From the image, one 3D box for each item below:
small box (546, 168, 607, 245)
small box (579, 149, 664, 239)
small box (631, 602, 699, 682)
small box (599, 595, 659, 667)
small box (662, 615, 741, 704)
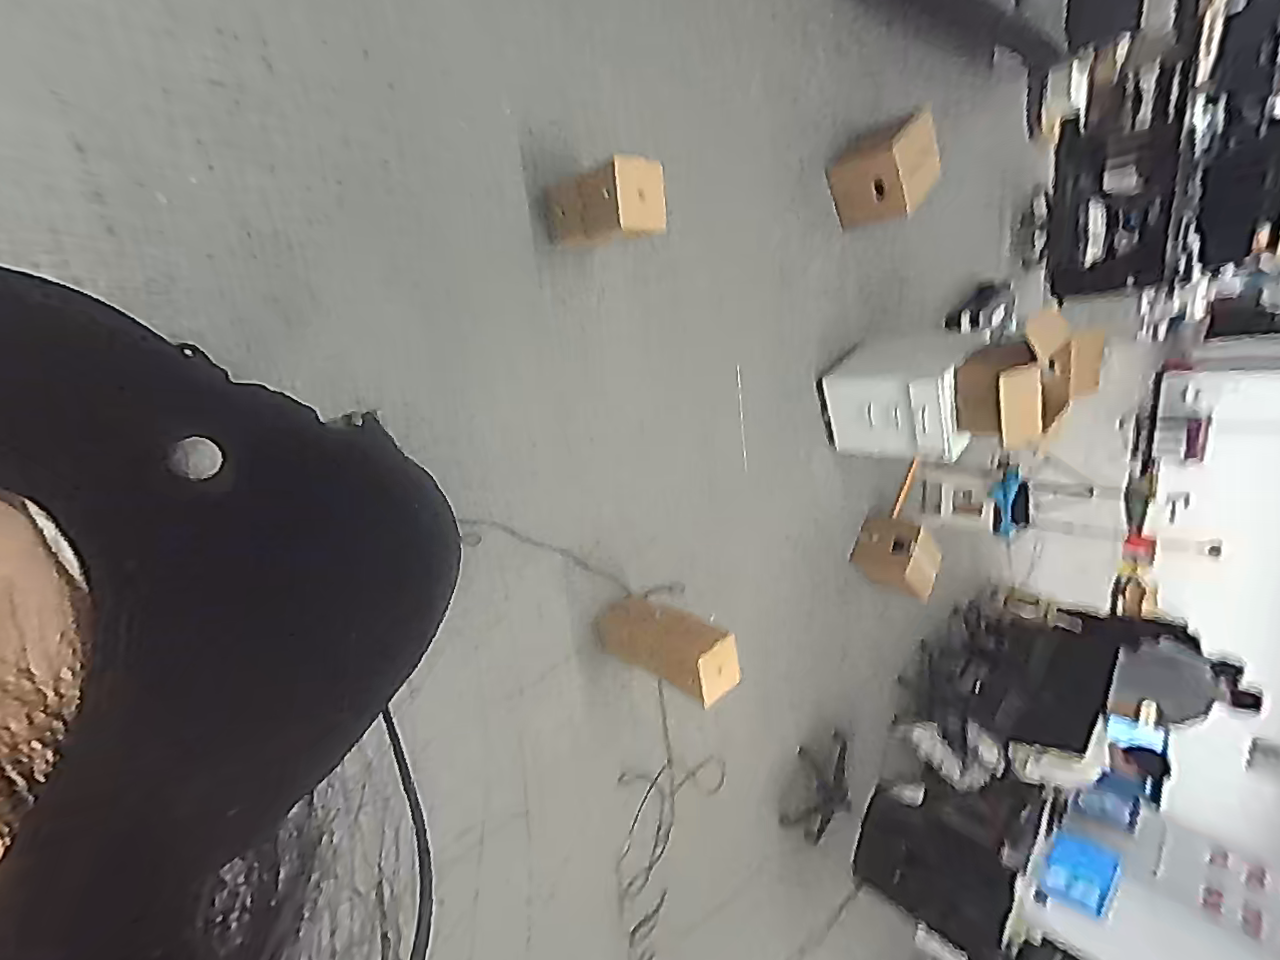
[{"bbox_3d":[-0.167,-0.809,1.615,0.179,0.176,0.168,-17,107,-38],"label":"small box"},{"bbox_3d":[-0.055,-0.783,1.498,0.168,0.176,0.179,-17,108,-37],"label":"small box"},{"bbox_3d":[0.092,0.539,1.823,0.168,0.176,0.179,-23,110,-37],"label":"small box"},{"bbox_3d":[-0.026,0.529,1.936,0.168,0.176,0.179,-27,114,-34],"label":"small box"},{"bbox_3d":[0.192,0.555,1.695,0.168,0.176,0.179,-24,111,-36],"label":"small box"}]
